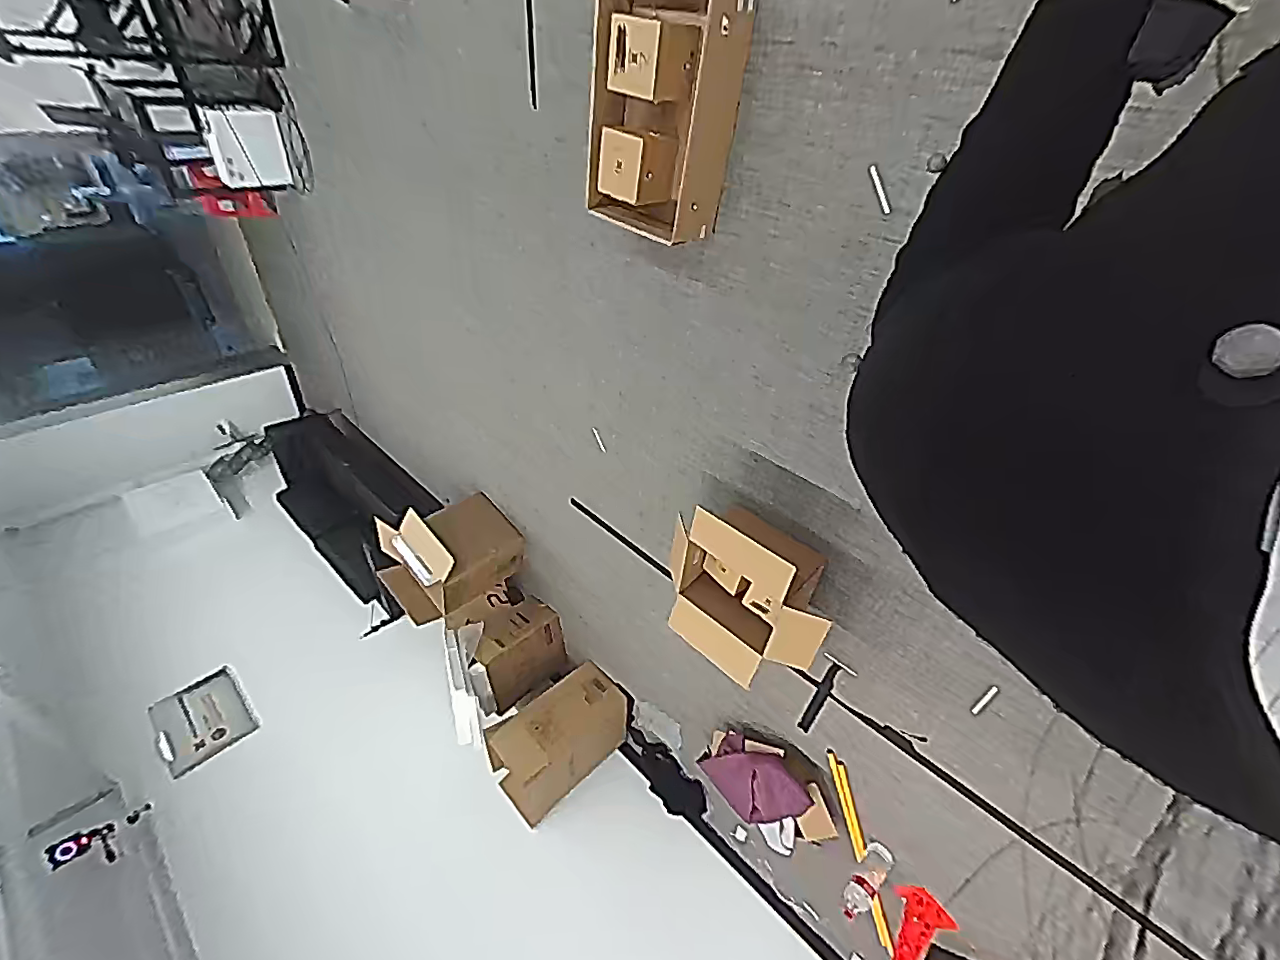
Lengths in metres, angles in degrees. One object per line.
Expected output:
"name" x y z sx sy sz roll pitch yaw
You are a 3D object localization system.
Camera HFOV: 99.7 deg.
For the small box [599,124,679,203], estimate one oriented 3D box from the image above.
"small box" -0.002 -0.969 1.651 0.168 0.176 0.179 35 135 26
